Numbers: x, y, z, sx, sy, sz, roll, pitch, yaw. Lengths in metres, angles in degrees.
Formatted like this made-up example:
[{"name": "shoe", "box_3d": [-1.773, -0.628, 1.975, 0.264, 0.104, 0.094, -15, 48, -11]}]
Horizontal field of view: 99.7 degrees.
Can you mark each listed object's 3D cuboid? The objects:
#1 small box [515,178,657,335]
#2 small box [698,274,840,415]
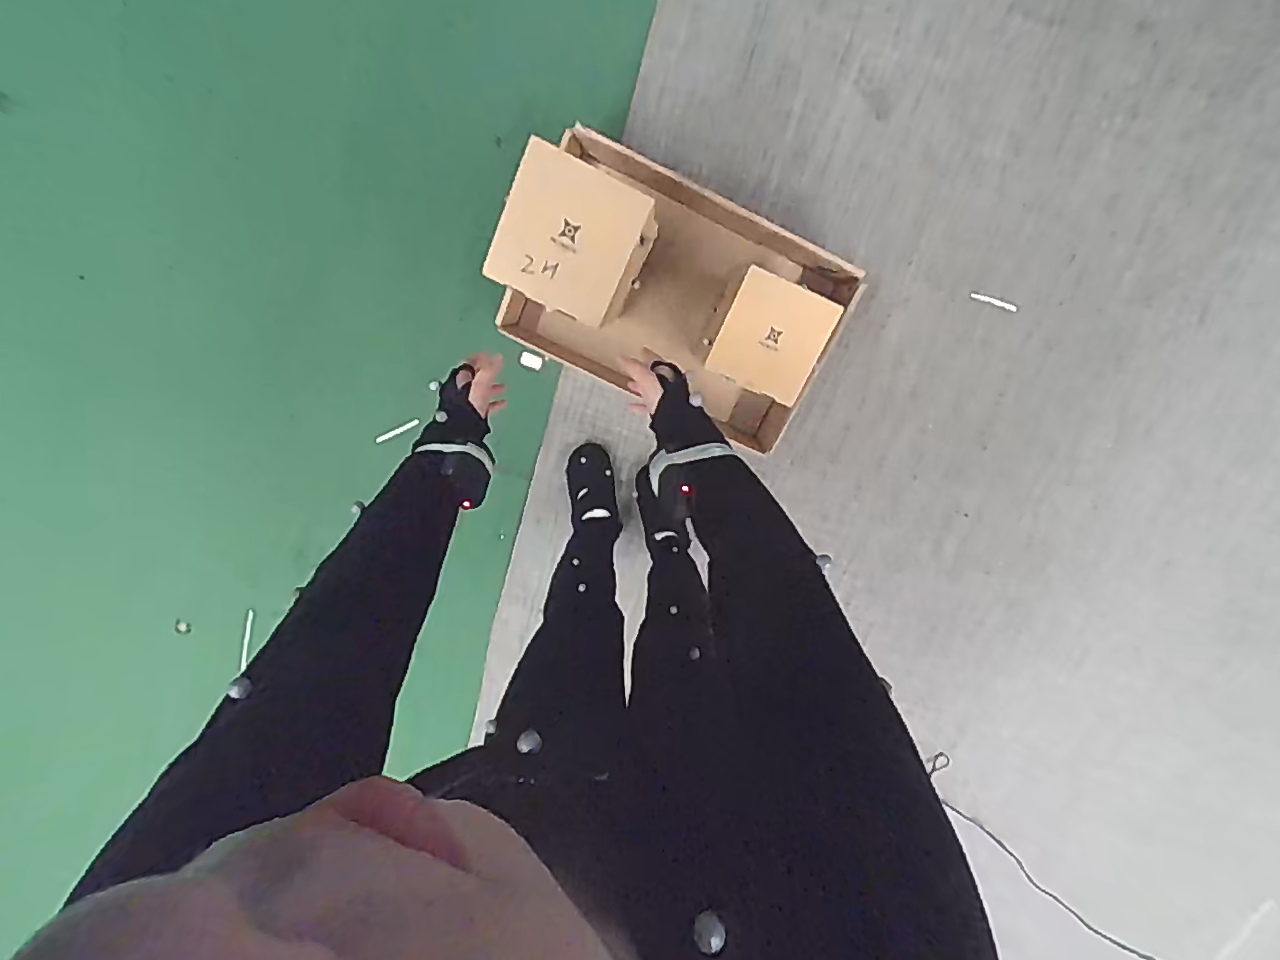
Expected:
[{"name": "small box", "box_3d": [-0.087, -0.365, 0.911, 0.168, 0.176, 0.179, 27, 107, -8]}, {"name": "small box", "box_3d": [0.210, -0.237, 0.943, 0.168, 0.176, 0.179, 24, 106, -5]}]
